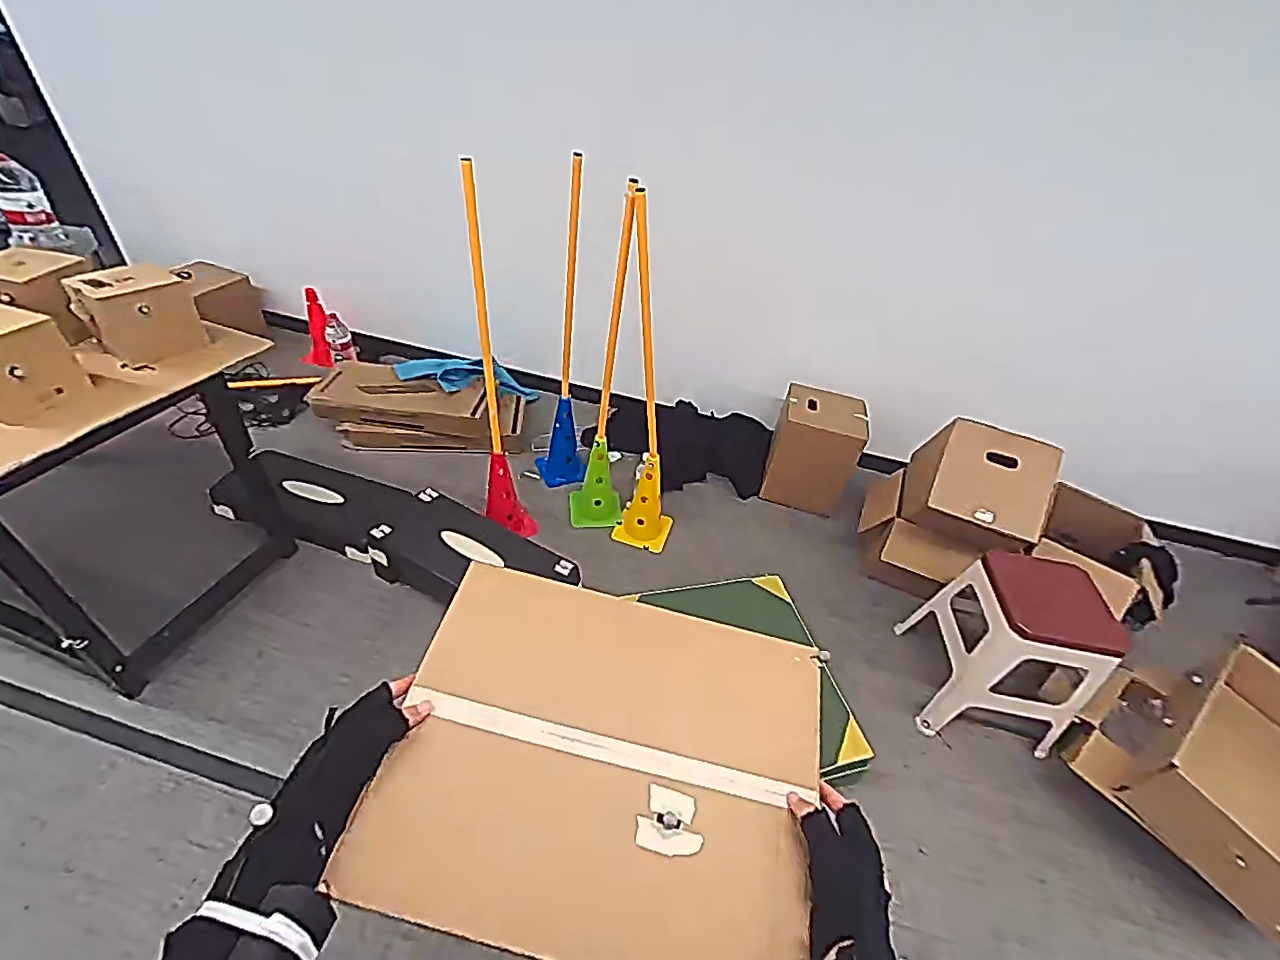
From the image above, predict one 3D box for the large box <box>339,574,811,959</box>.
[{"bbox_3d":[-0.048,0.358,0.645,0.408,0.320,0.320,14,52,2],"label":"large box"}]
